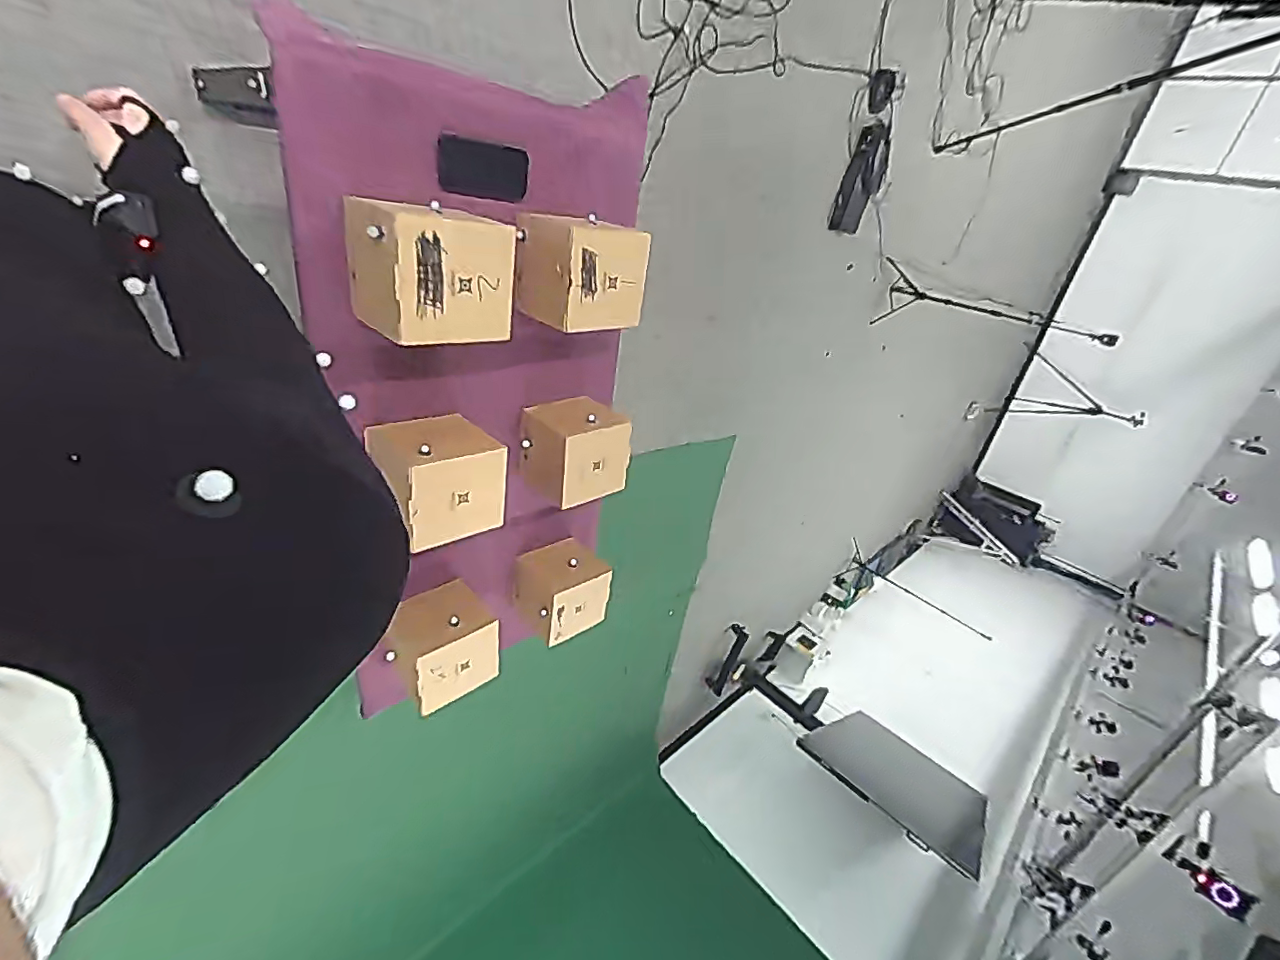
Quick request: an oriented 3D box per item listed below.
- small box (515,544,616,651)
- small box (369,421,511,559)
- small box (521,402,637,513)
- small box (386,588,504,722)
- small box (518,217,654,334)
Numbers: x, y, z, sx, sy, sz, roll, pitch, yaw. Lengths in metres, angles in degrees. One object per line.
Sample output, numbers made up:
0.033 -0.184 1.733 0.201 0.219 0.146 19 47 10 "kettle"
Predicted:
-0.186 0.282 1.341 0.179 0.176 0.168 -17 127 -42 "small box"
-0.352 0.006 0.954 0.179 0.176 0.168 -18 128 -43 "small box"
-0.133 -0.058 1.160 0.179 0.176 0.168 -18 128 -40 "small box"
-0.406 0.355 1.135 0.179 0.176 0.168 -19 128 -40 "small box"
-0.103 -0.368 0.969 0.179 0.176 0.168 -19 129 -41 "small box"
